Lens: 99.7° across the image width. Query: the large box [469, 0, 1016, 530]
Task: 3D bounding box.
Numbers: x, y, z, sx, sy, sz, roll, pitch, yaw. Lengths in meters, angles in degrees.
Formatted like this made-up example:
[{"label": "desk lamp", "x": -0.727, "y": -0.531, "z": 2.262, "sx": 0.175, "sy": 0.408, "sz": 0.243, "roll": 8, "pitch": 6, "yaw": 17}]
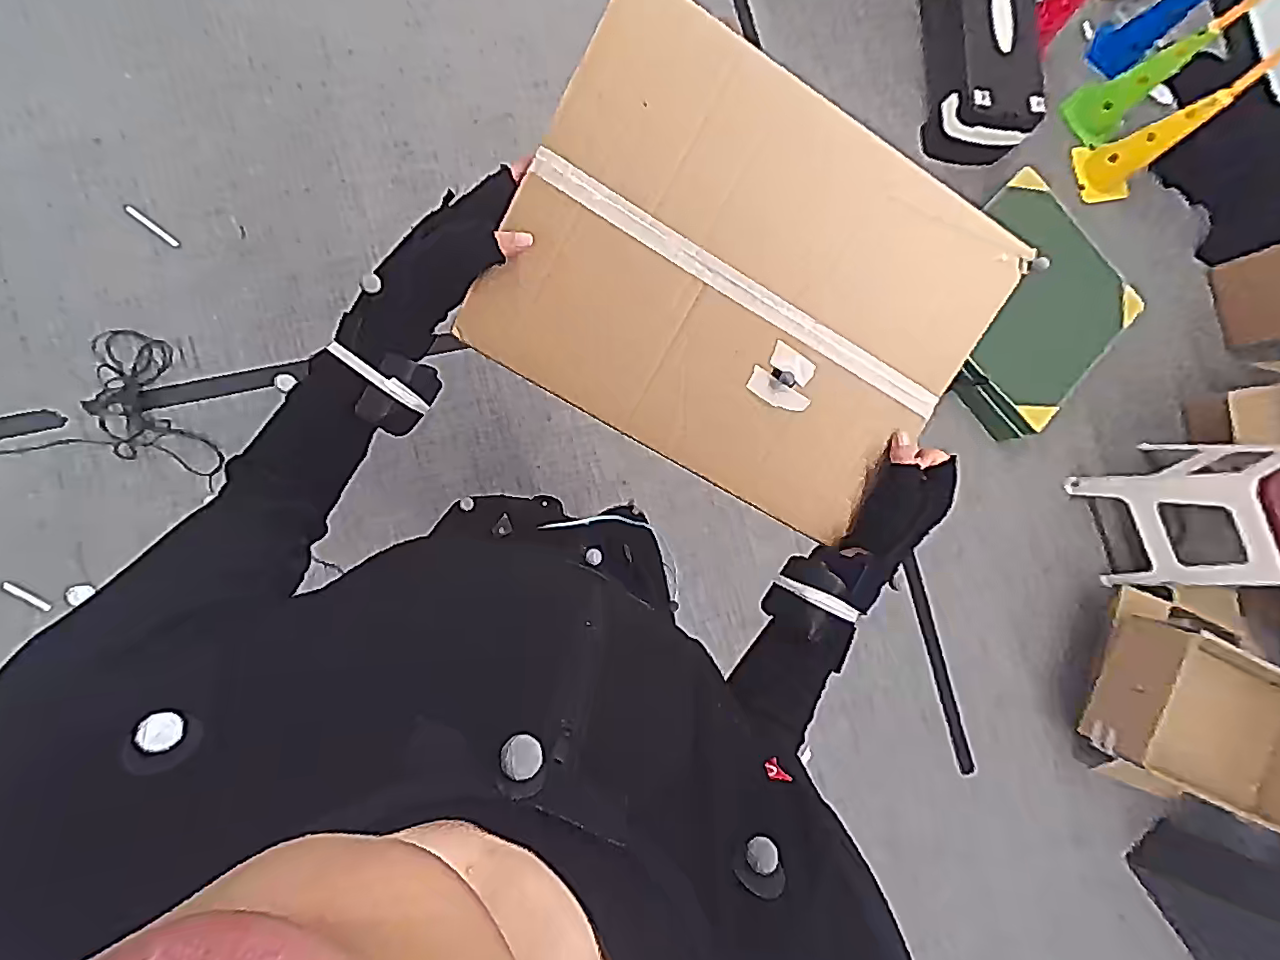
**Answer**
[{"label": "large box", "x": 0.082, "y": -0.201, "z": 0.620, "sx": 0.408, "sy": 0.320, "sz": 0.320, "roll": 29, "pitch": 100, "yaw": -10}]
